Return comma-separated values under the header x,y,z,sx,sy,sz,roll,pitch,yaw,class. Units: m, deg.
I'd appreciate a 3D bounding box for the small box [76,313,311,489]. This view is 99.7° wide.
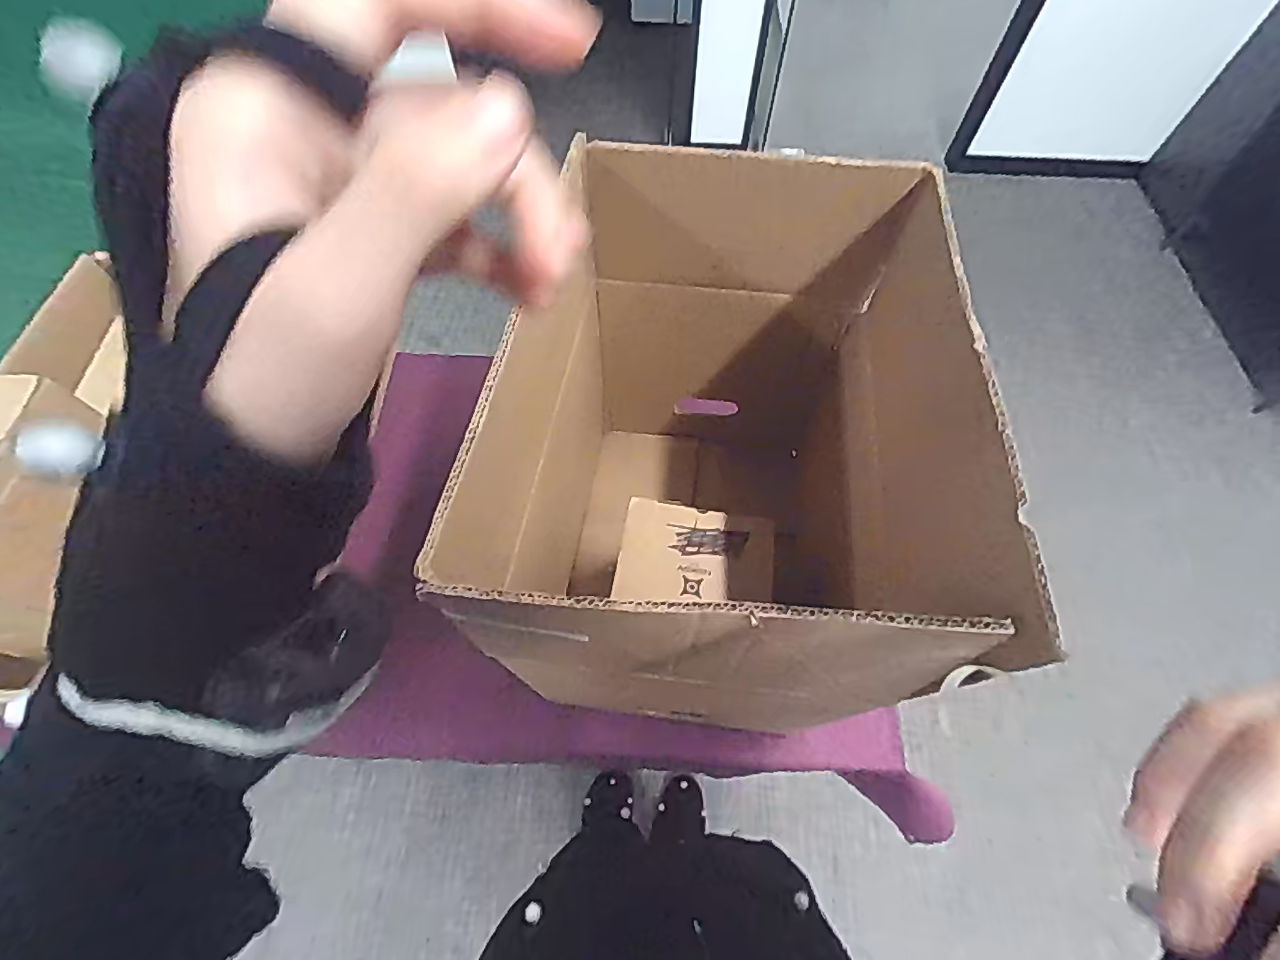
x,y,z,sx,sy,sz,roll,pitch,yaw,class
-0.578,-0.096,0.724,0.168,0.176,0.179,-3,62,0,small box
